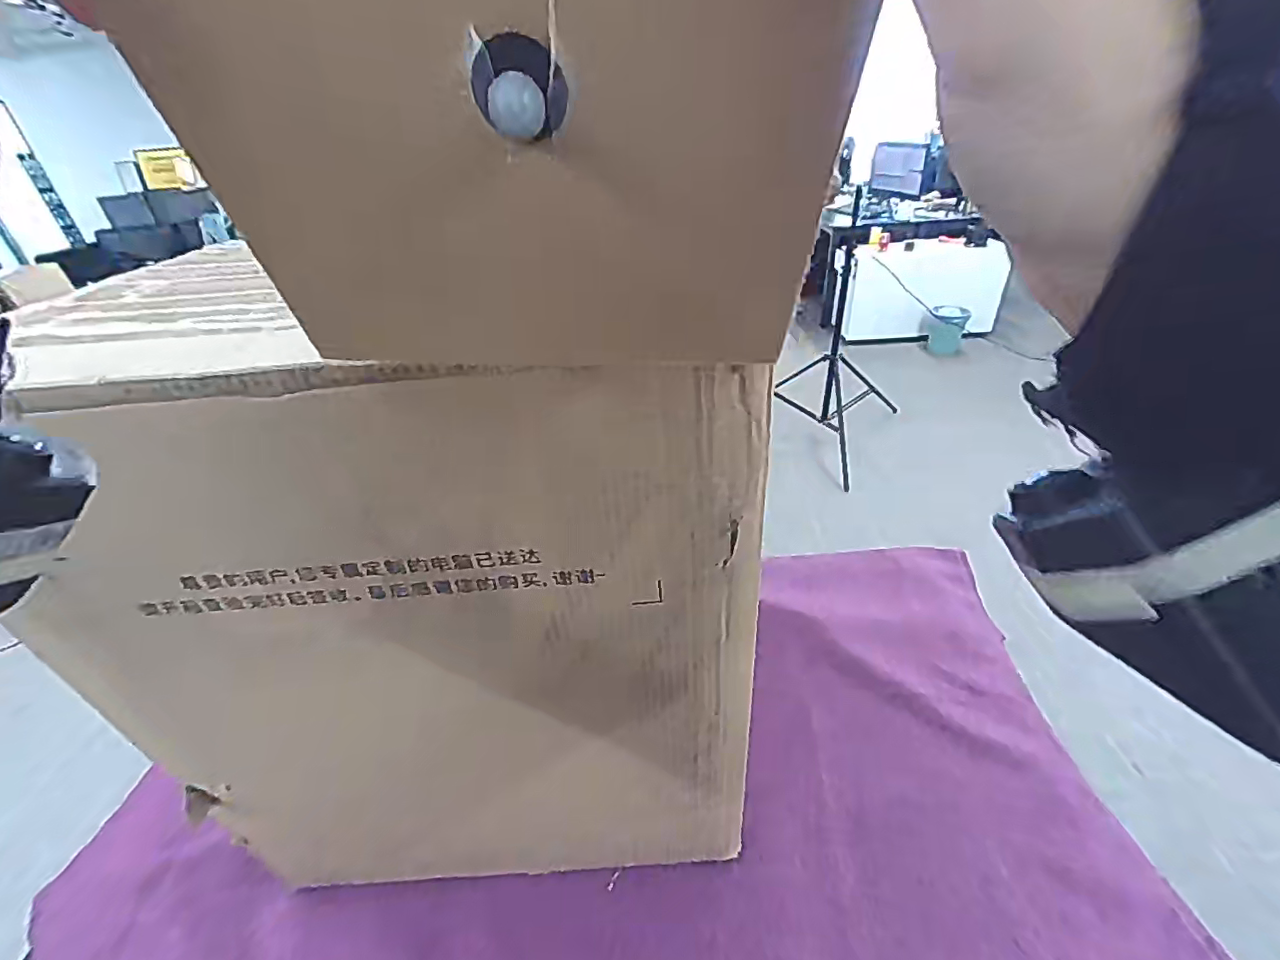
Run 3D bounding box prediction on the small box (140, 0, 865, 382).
[{"bbox_3d":[-0.031,-0.154,0.182,0.168,0.176,0.179,1,56,0],"label":"small box"}]
